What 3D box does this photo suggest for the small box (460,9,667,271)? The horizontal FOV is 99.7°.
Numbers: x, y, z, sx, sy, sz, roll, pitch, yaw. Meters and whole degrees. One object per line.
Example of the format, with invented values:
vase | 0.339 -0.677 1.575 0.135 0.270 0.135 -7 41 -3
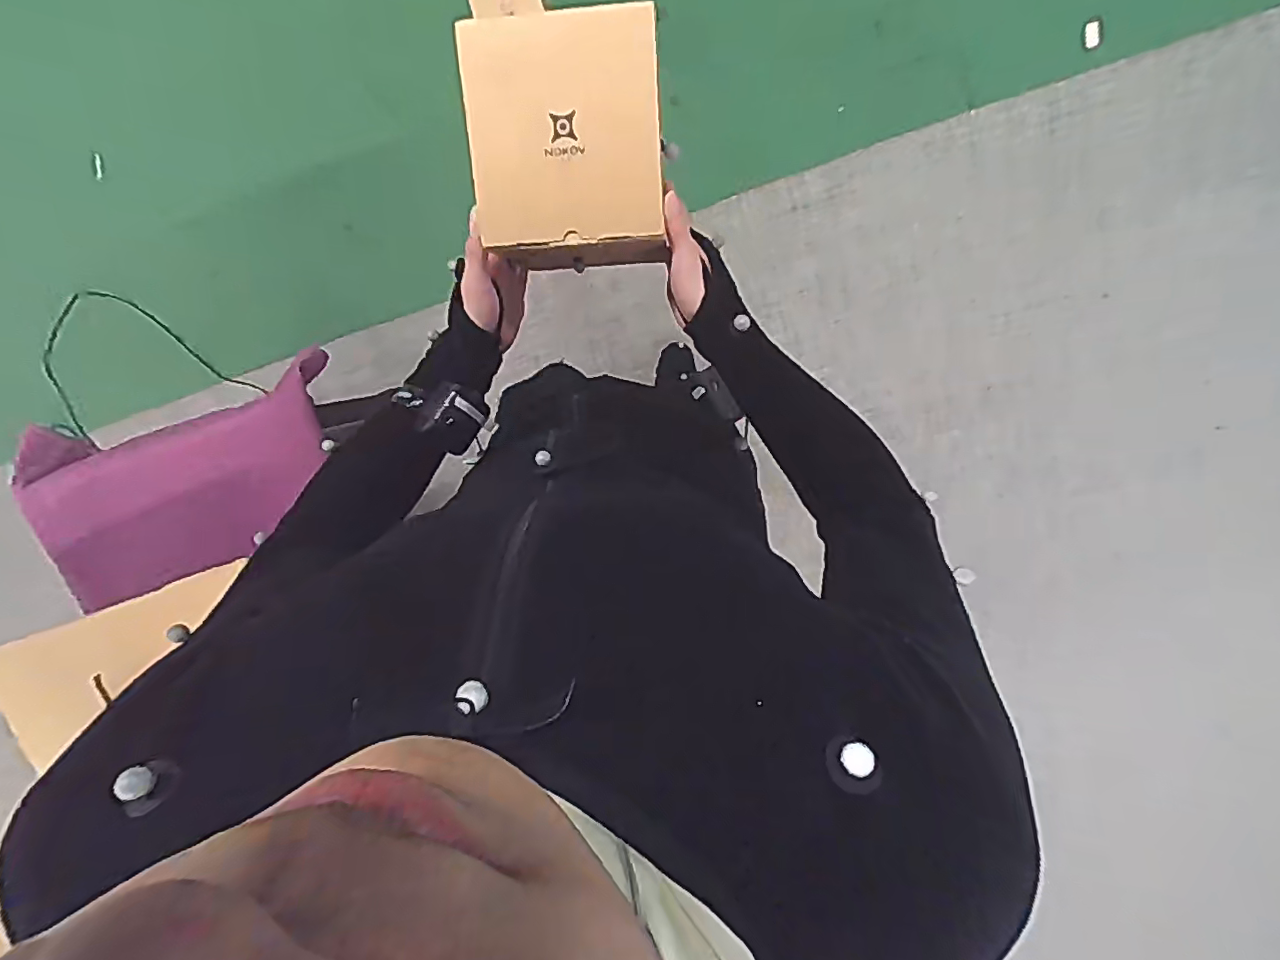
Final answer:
small box | -0.059 -0.310 0.532 0.168 0.176 0.179 -2 107 3
